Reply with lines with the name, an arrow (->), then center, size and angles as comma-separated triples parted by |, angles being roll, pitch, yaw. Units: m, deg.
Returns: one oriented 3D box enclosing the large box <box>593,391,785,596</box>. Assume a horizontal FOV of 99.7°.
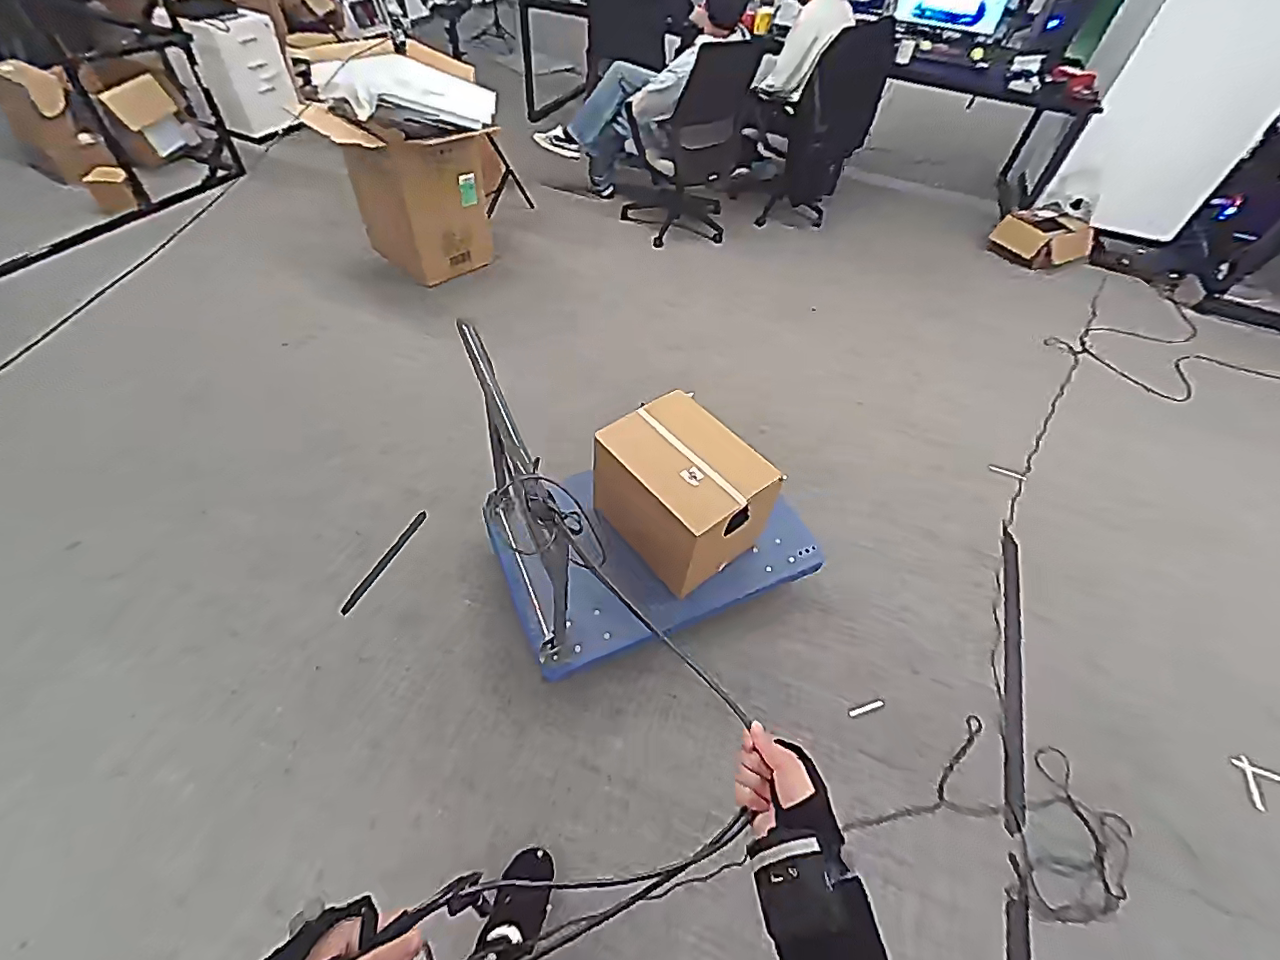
large box -> 0.110, 0.032, 1.490 | 0.320, 0.320, 0.408 | -31, 61, -26
